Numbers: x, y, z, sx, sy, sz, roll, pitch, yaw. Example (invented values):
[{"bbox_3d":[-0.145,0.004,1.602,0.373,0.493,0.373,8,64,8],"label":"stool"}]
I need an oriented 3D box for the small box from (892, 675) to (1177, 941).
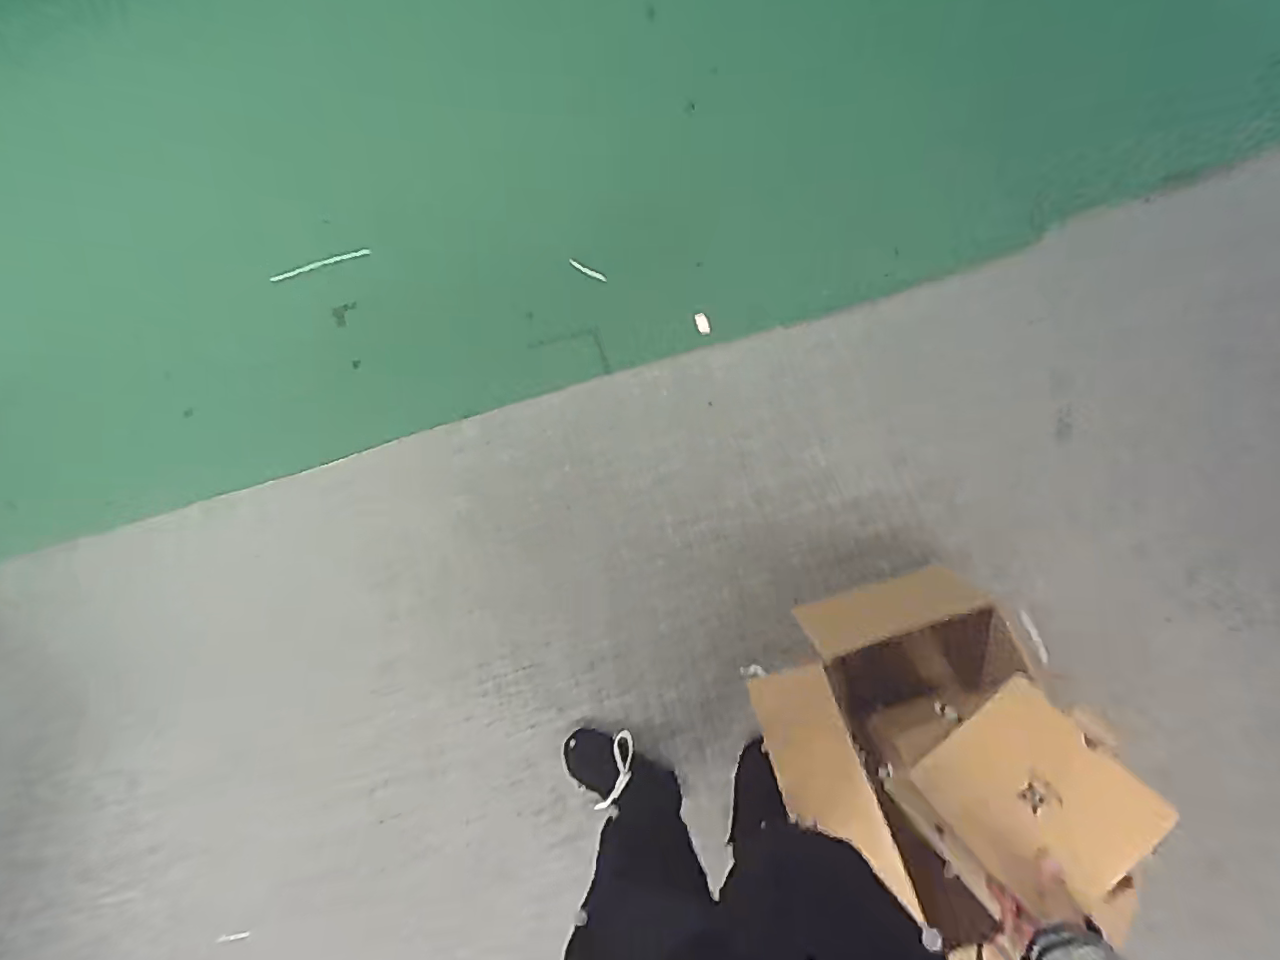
[{"bbox_3d":[0.405,0.354,0.597,0.179,0.176,0.168,-35,56,-10],"label":"small box"}]
